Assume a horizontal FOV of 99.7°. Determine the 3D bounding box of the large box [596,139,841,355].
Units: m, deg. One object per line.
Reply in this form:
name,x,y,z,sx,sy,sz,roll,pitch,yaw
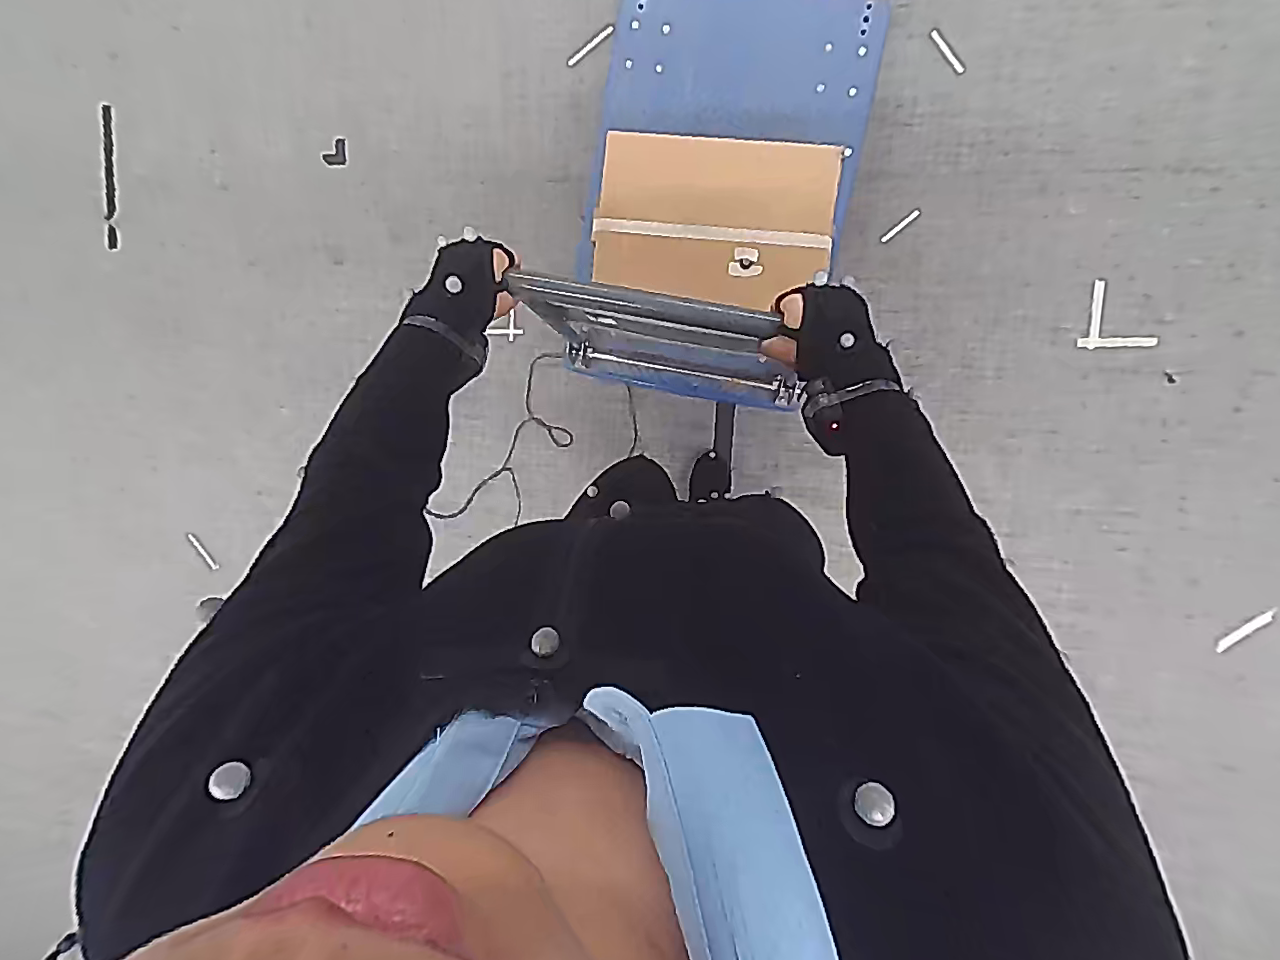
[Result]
large box,0.143,-0.442,1.095,0.408,0.320,0.320,7,98,5
